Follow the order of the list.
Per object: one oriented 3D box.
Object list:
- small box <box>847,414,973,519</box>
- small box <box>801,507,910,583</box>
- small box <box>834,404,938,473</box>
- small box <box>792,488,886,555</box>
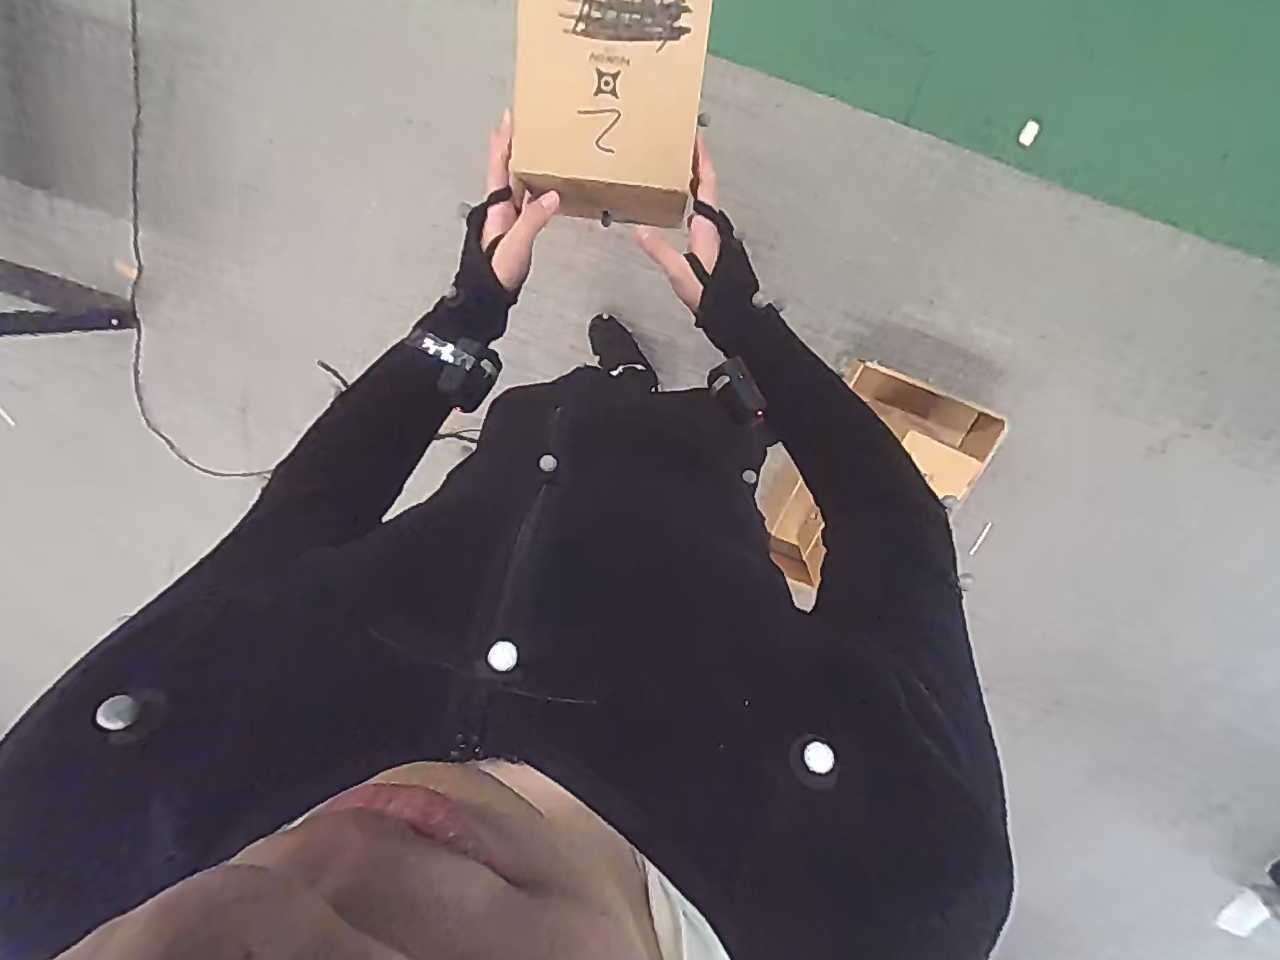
[{"bbox_3d":[0.621,-0.040,1.266,0.179,0.176,0.168,25,109,-3],"label":"small box"},{"bbox_3d":[0.531,0.188,1.358,0.179,0.176,0.168,23,108,-1],"label":"small box"},{"bbox_3d":[0.637,-0.090,1.422,0.179,0.176,0.168,20,111,0],"label":"small box"},{"bbox_3d":[0.545,0.138,1.513,0.179,0.176,0.168,21,109,-1],"label":"small box"}]
